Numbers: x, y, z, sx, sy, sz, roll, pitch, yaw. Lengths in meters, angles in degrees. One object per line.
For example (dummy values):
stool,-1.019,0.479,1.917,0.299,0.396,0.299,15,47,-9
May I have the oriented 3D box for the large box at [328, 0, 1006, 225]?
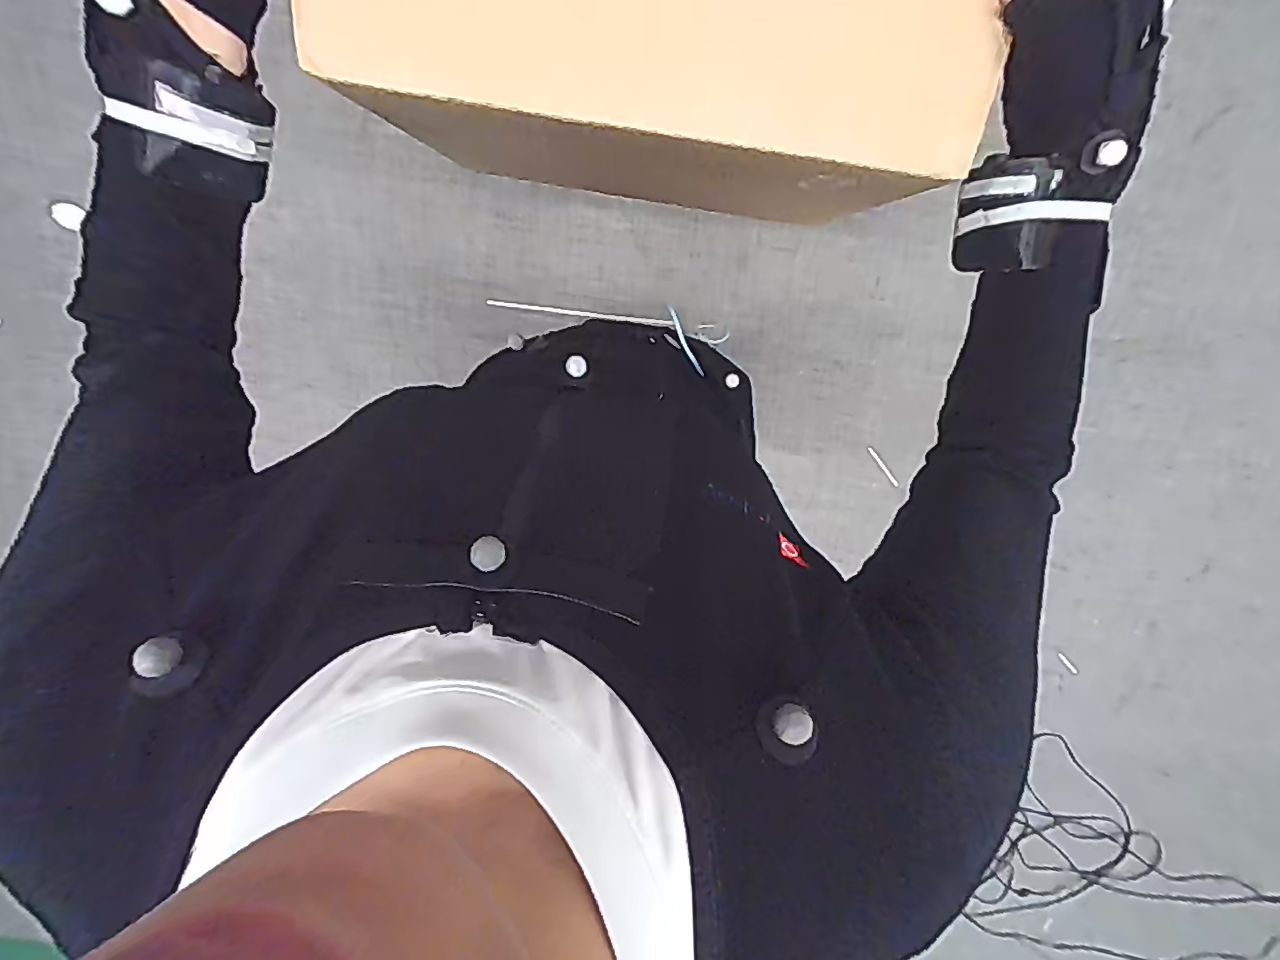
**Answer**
large box,0.026,-0.409,0.429,0.408,0.320,0.320,8,110,-2
